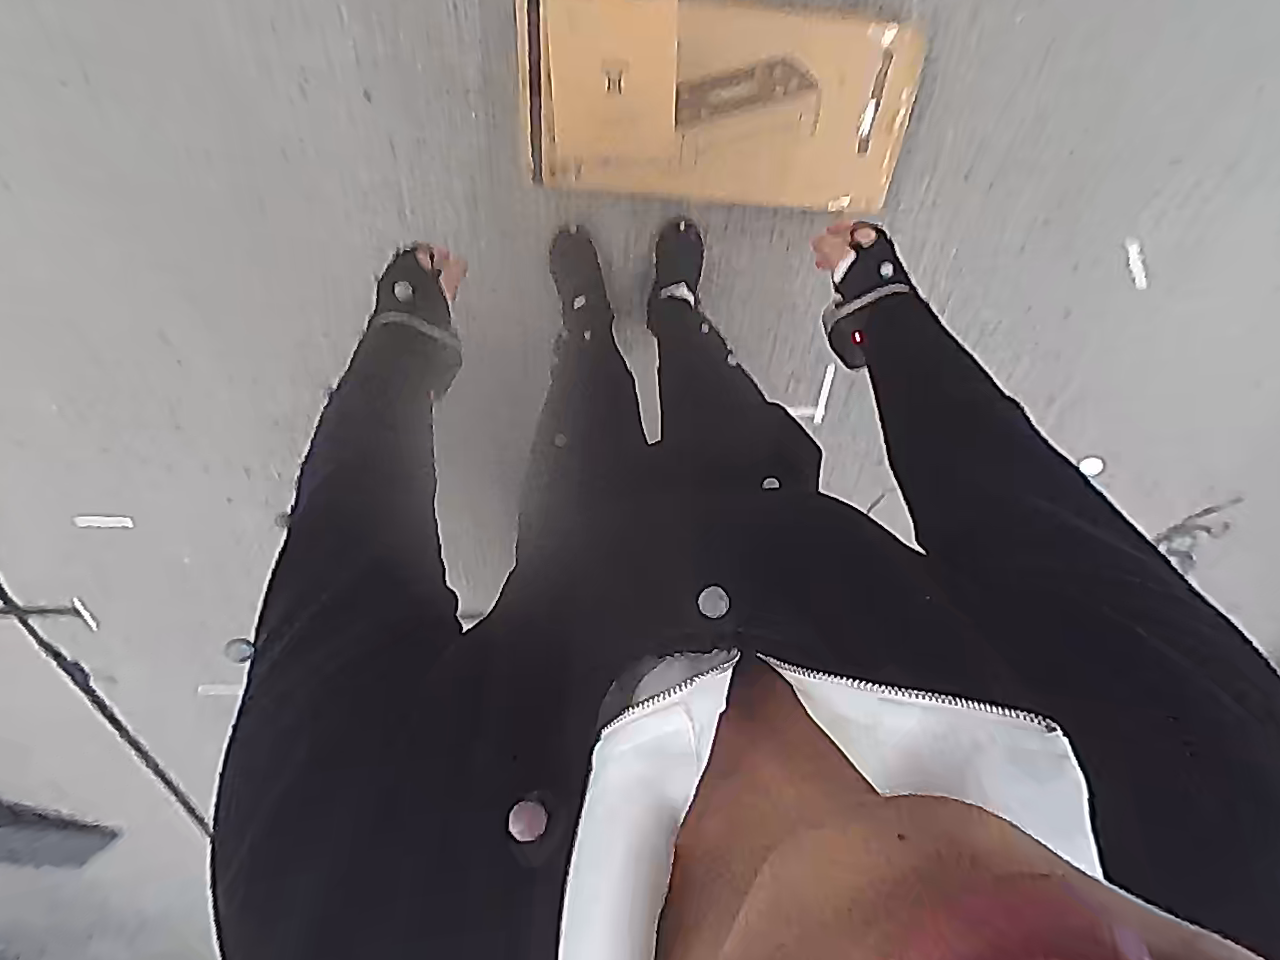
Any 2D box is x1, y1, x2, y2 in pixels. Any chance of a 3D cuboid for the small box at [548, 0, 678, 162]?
[{"bbox_3d":[-0.040,-0.564,0.777,0.168,0.176,0.179,-3,125,-3],"label":"small box"}]
